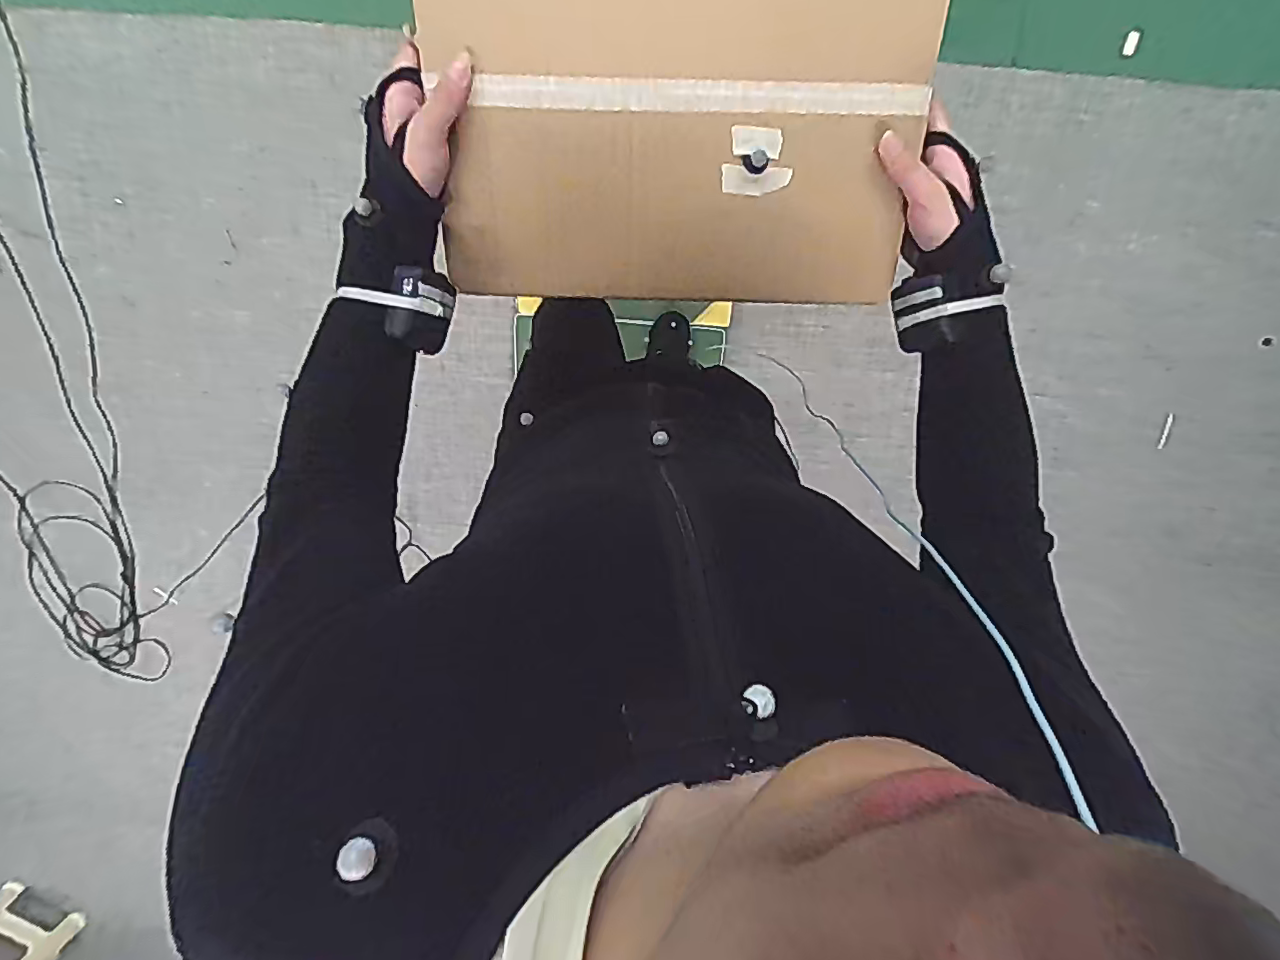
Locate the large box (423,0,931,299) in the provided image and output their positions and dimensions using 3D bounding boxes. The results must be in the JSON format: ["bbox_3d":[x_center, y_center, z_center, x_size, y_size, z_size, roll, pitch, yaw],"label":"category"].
[{"bbox_3d":[0.025,-0.376,0.584,0.408,0.320,0.320,0,116,-1],"label":"large box"}]
